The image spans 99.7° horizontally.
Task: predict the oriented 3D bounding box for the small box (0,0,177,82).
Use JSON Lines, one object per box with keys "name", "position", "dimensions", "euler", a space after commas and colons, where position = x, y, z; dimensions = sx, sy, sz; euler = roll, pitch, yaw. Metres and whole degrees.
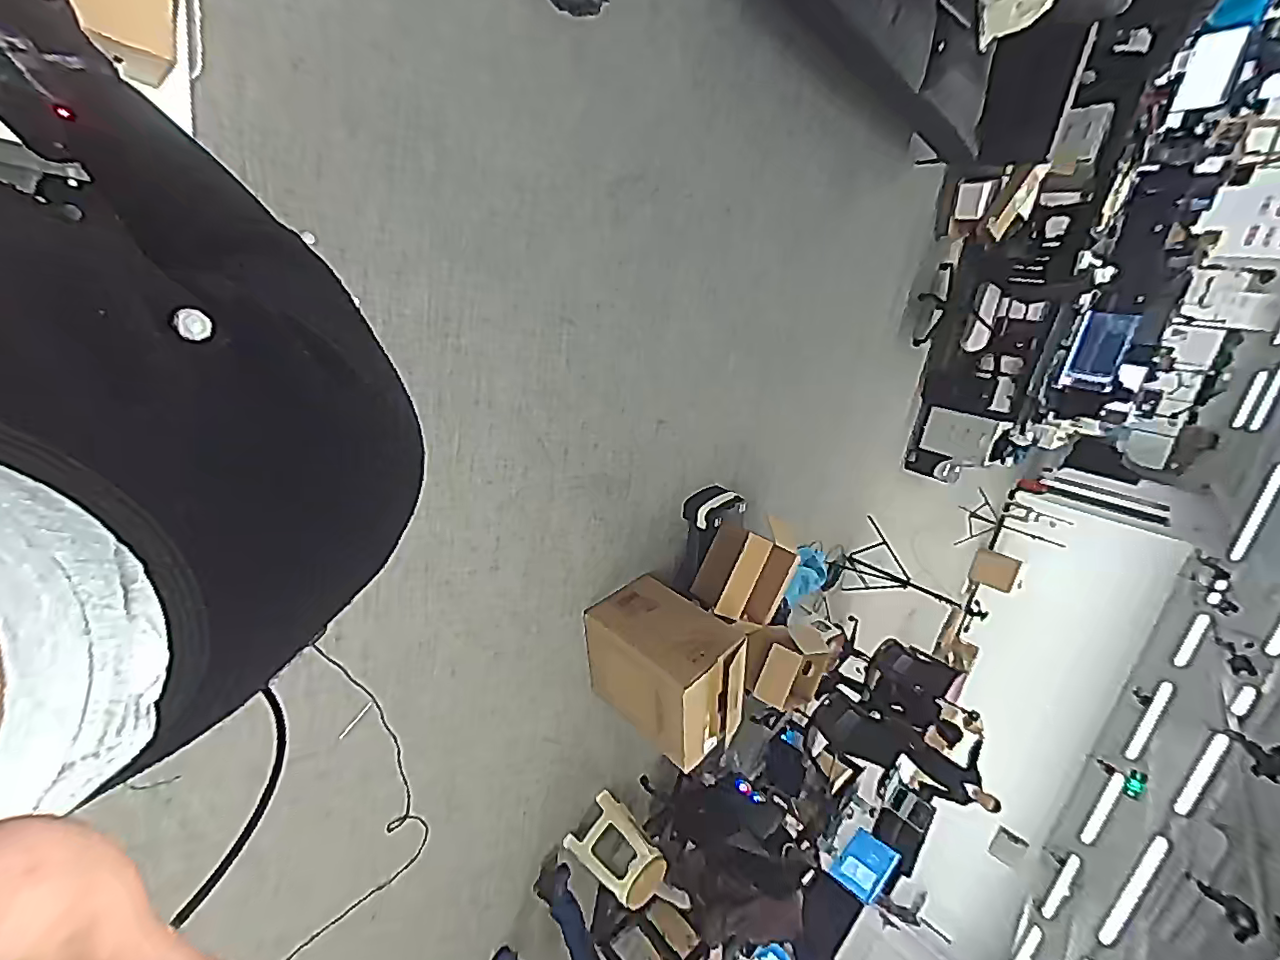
{"name": "small box", "position": [-0.581, -0.523, 0.529], "dimensions": [0.179, 0.176, 0.168], "euler": [-5, 111, -45]}
